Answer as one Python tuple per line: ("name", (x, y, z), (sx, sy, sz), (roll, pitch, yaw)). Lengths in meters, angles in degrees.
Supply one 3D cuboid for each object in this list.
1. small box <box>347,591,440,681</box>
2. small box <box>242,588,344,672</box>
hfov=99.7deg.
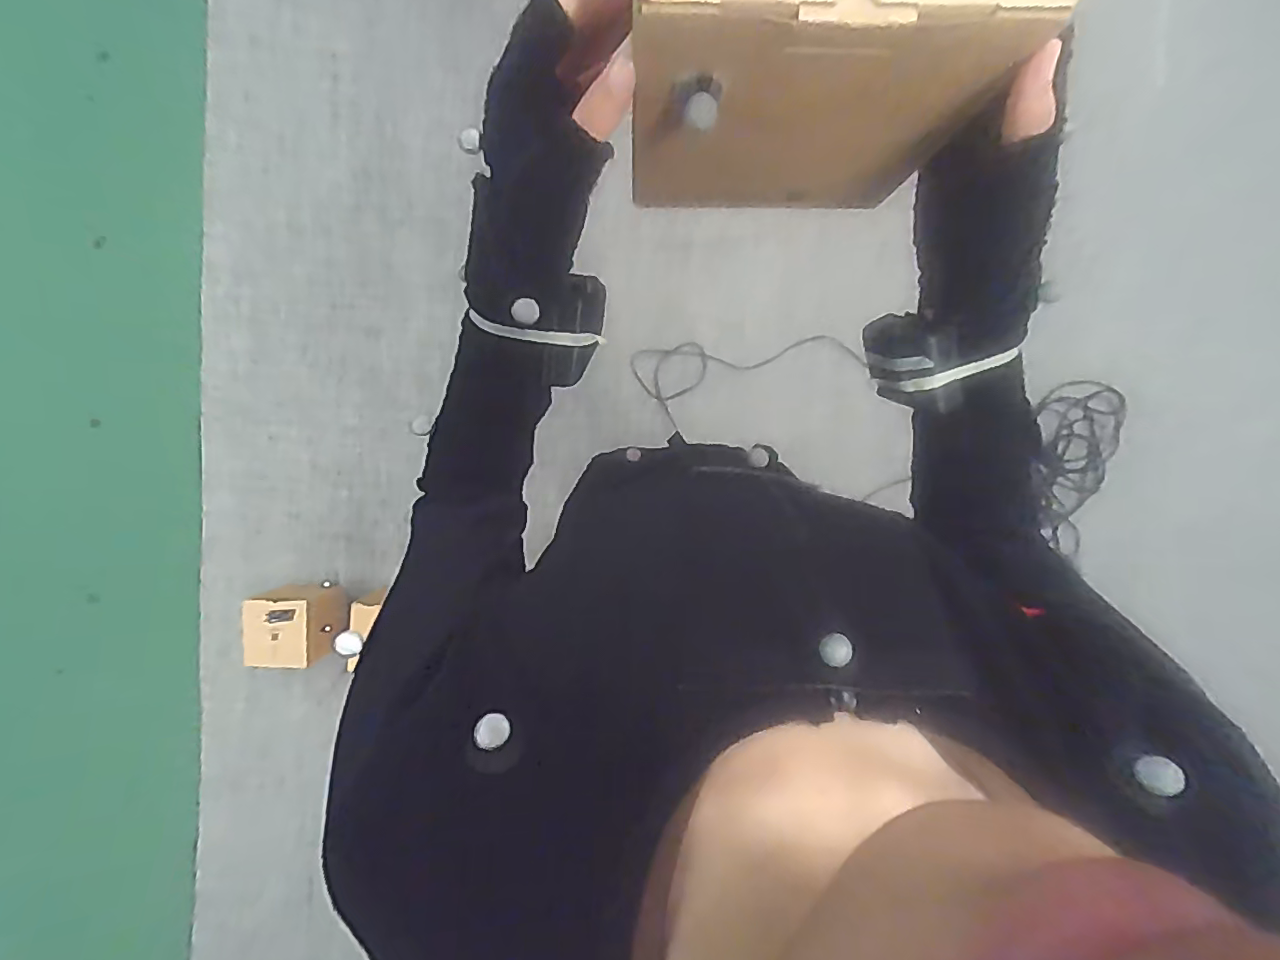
("small box", (-0.642, 0.404, 1.424), (0.168, 0.176, 0.179), (5, 92, 2))
("small box", (-0.910, 0.388, 1.429), (0.168, 0.176, 0.179), (2, 92, 2))
